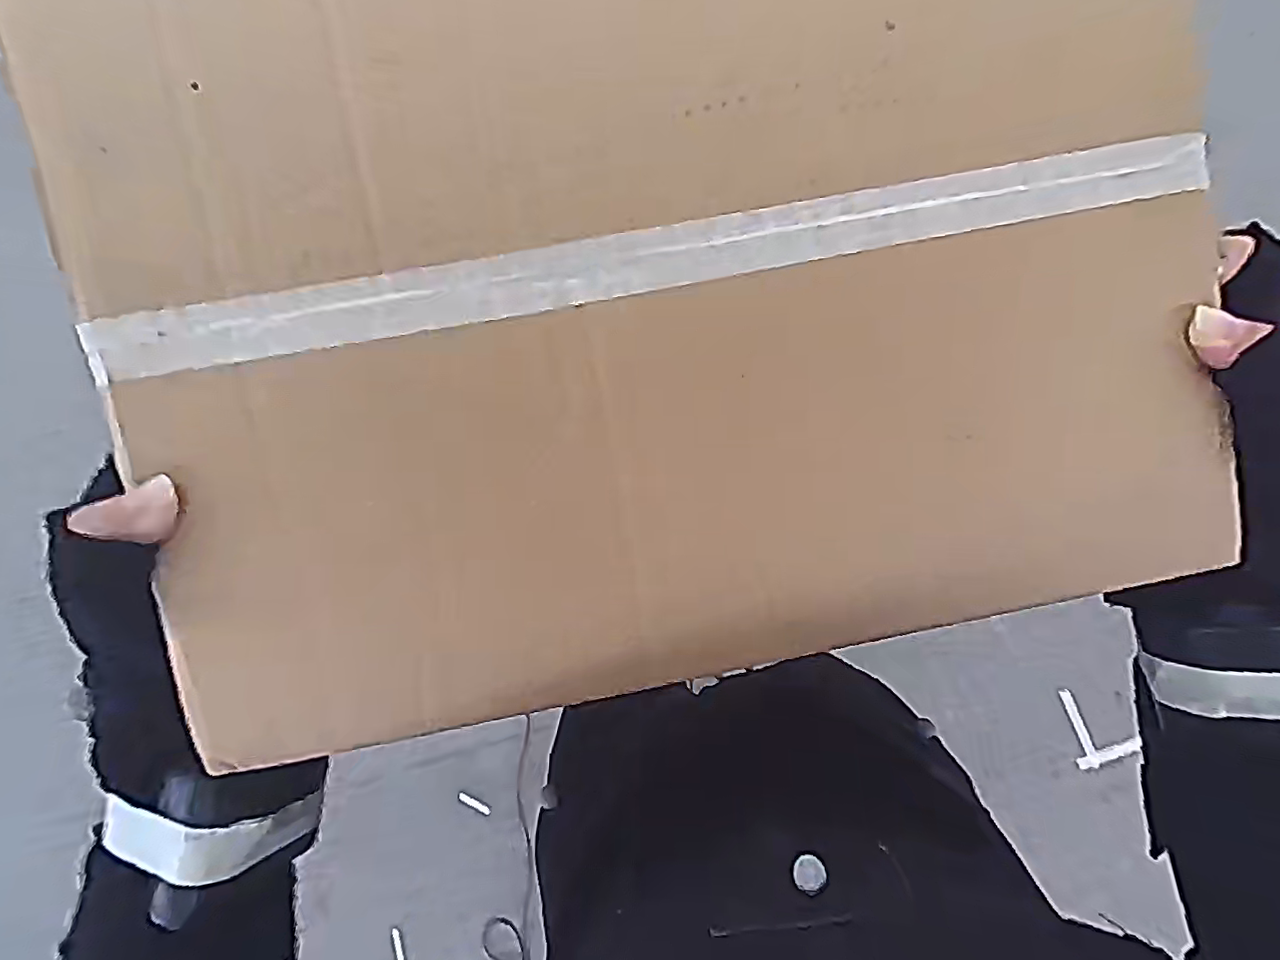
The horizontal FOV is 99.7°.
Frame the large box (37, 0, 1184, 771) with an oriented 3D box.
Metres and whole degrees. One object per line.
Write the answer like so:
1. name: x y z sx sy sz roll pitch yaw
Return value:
1. large box: 0.004 -0.086 0.356 0.408 0.320 0.320 -11 94 -3
